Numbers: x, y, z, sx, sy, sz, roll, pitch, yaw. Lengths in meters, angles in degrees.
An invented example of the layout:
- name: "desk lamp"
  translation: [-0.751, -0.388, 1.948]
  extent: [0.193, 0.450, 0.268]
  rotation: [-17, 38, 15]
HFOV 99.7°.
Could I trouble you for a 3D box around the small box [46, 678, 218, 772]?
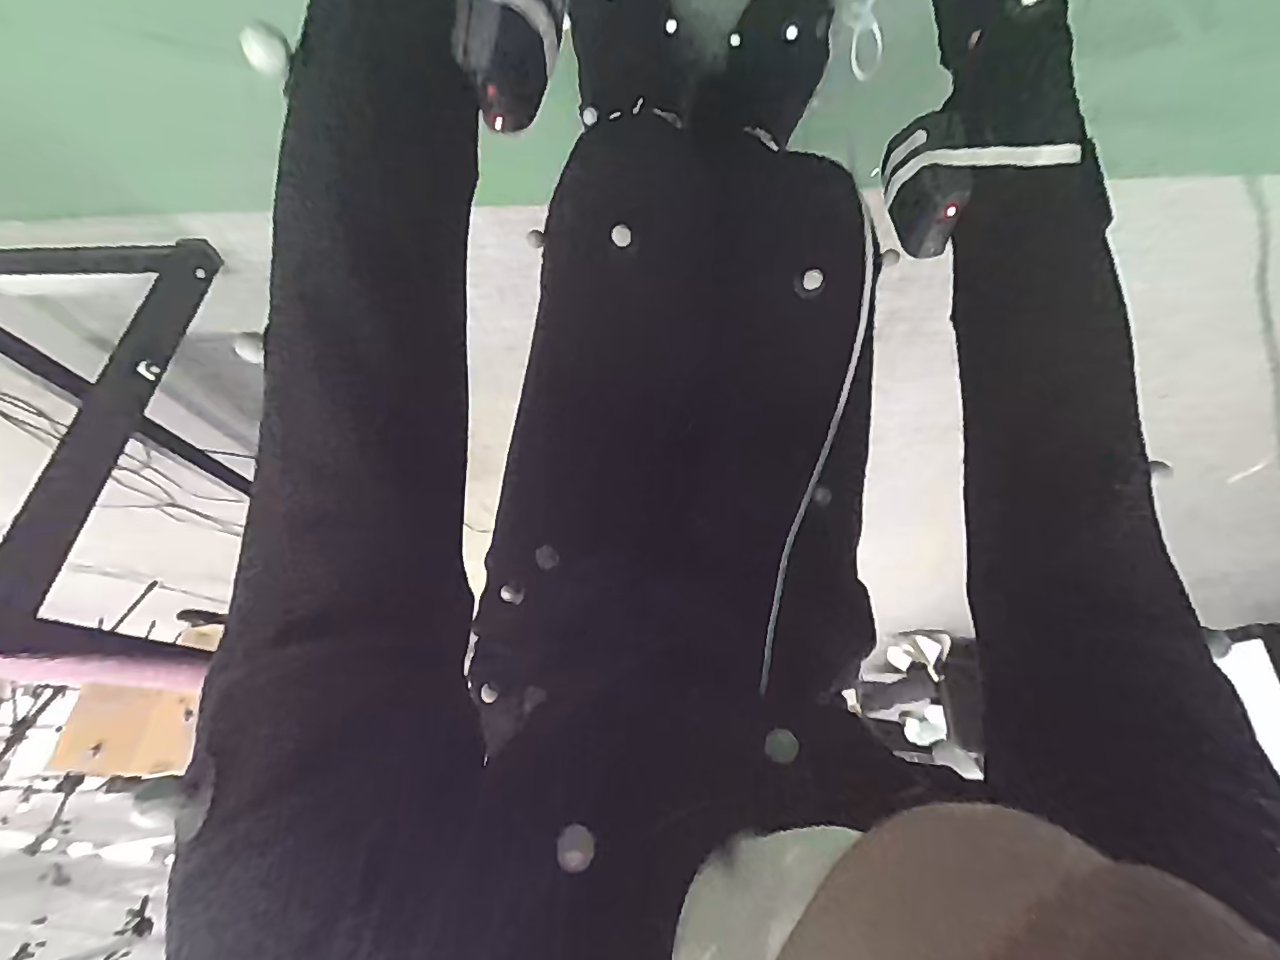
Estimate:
- name: "small box"
  translation: [-1.062, 0.520, 1.150]
  extent: [0.179, 0.176, 0.168]
  rotation: [2, 154, 4]
